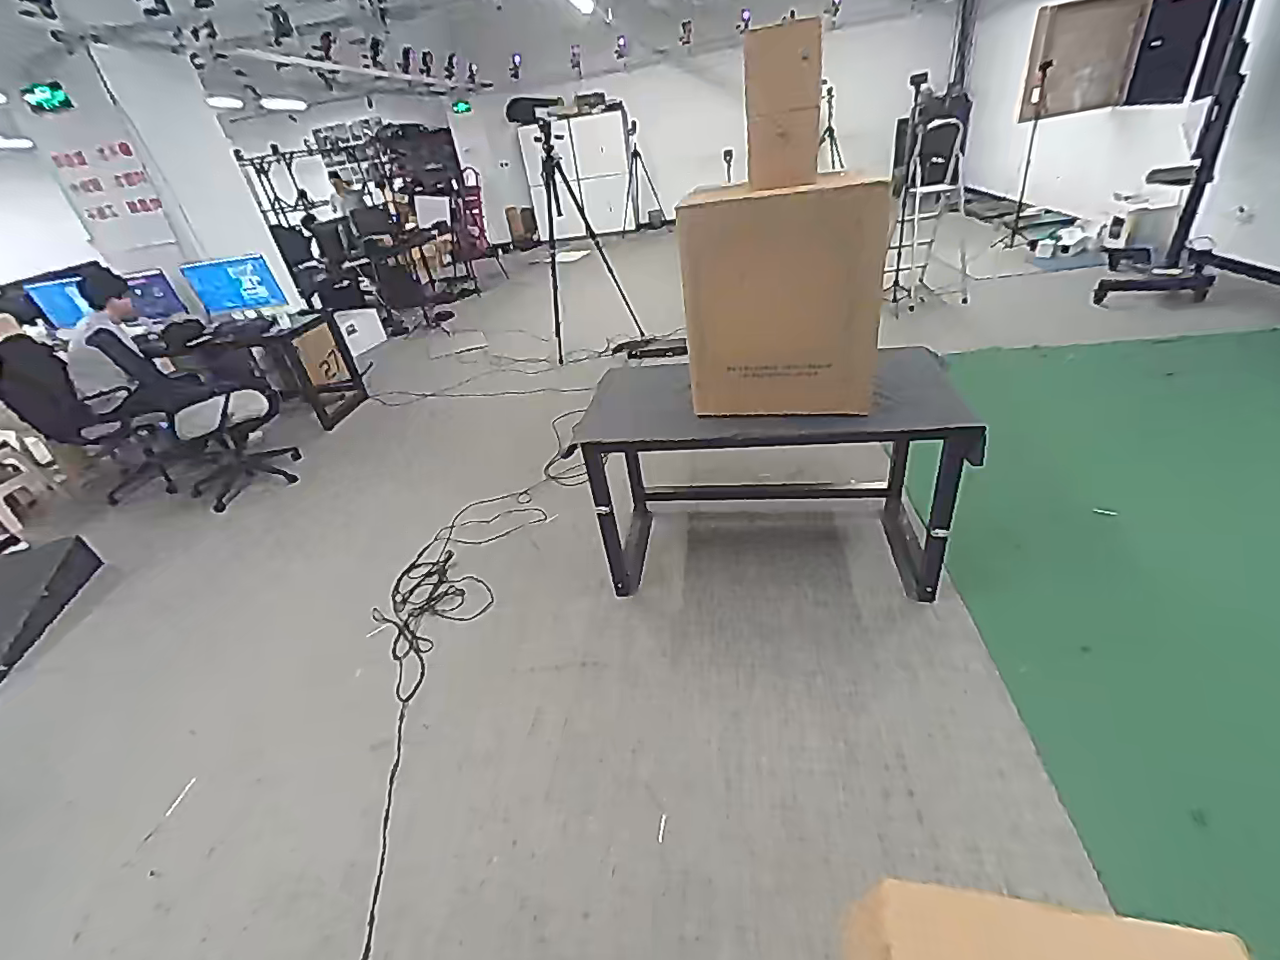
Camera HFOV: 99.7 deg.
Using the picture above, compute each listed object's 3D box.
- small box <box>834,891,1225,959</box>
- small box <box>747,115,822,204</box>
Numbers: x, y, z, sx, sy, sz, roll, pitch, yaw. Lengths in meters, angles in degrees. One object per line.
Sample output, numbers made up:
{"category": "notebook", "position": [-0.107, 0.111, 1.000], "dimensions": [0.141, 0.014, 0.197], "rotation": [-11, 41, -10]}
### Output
{"category": "small box", "position": [0.215, 0.355, 0.298], "dimensions": [0.179, 0.176, 0.168], "rotation": [1, 44, 11]}
{"category": "small box", "position": [0.379, -0.835, 1.413], "dimensions": [0.179, 0.176, 0.168], "rotation": [2, 36, 17]}
